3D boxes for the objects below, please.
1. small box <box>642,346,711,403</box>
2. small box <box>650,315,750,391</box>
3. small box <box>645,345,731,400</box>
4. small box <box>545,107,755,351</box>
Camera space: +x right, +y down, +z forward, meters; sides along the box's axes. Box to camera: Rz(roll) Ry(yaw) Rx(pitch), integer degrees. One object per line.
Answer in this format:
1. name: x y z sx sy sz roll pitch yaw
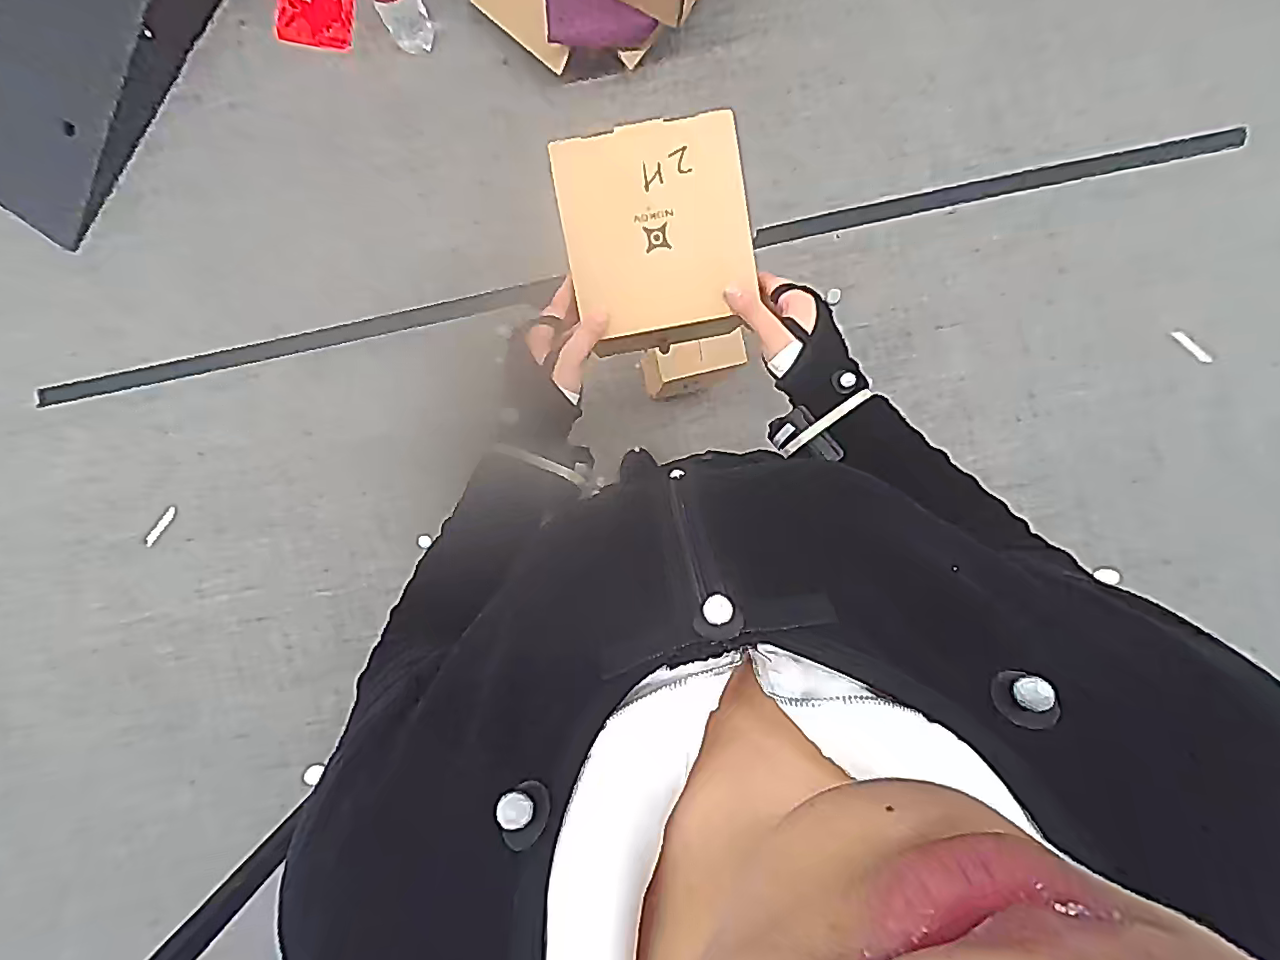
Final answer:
1. small box: 0.102 -0.303 1.404 0.179 0.176 0.168 -12 92 2
2. small box: 0.105 -0.286 1.076 0.168 0.176 0.179 -13 93 1
3. small box: 0.102 -0.293 1.241 0.168 0.176 0.179 -13 92 1
4. small box: 0.012 -0.236 0.560 0.168 0.176 0.179 -11 97 2
